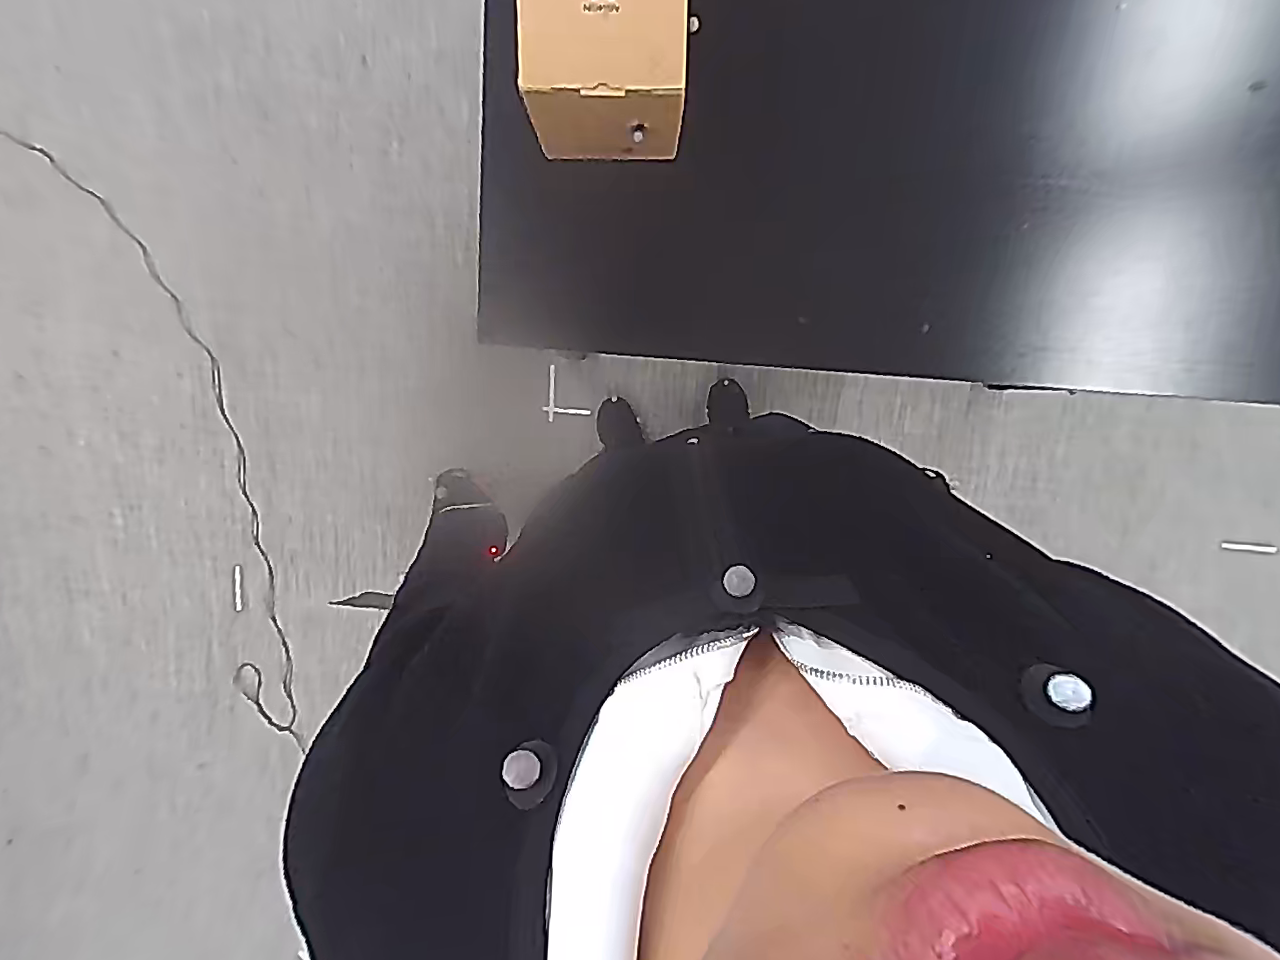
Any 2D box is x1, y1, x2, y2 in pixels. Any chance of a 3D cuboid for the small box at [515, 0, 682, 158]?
[{"bbox_3d":[-0.041,-0.482,0.601,0.168,0.176,0.179,0,99,-1],"label":"small box"}]
